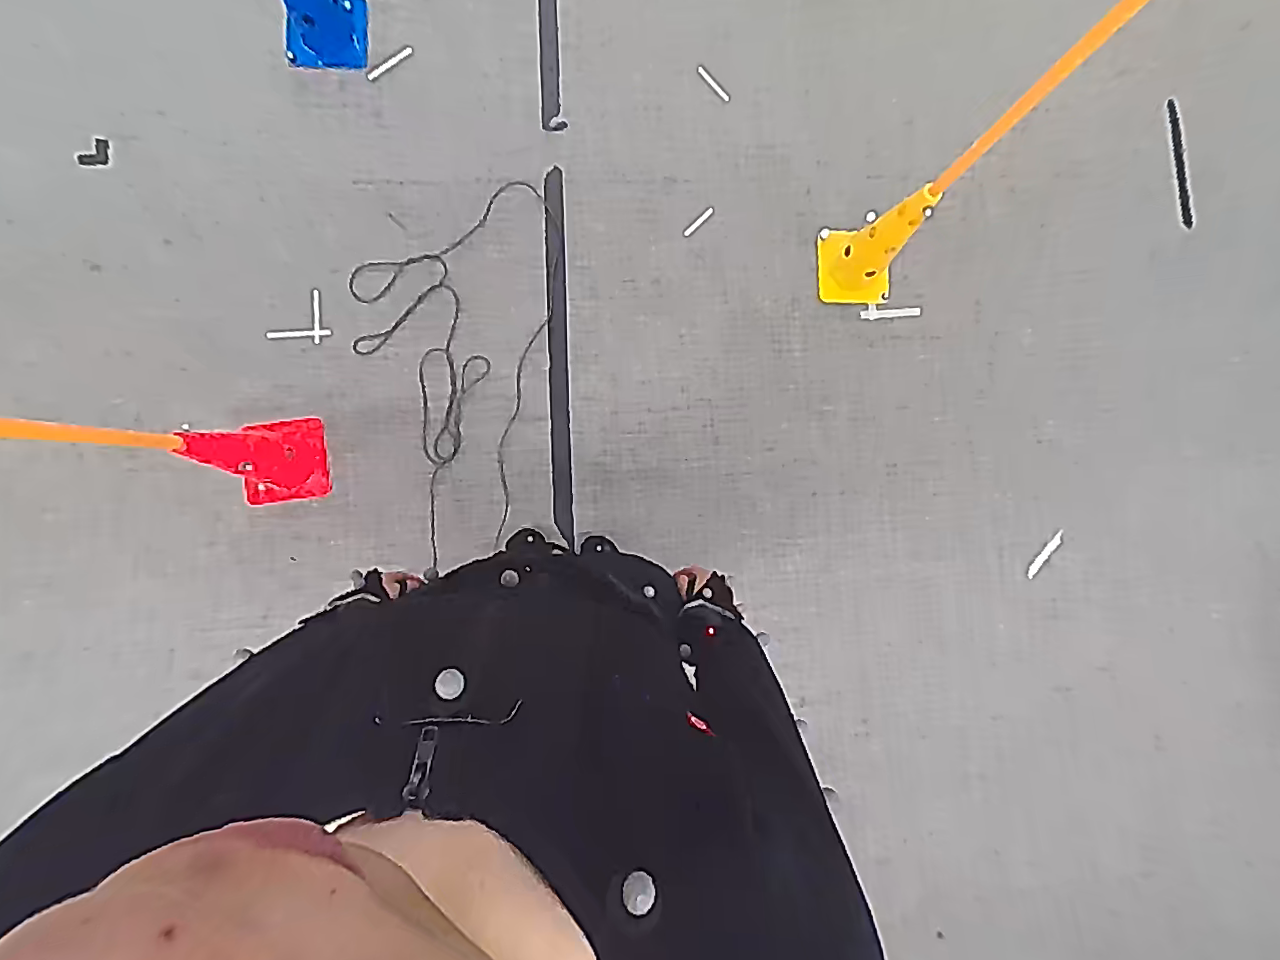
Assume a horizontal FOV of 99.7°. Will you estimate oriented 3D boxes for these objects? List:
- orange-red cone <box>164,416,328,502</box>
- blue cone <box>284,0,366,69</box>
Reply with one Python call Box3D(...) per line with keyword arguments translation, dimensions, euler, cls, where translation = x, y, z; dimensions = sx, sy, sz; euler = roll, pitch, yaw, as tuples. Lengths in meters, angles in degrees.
Box3D(translation=(-0.854, -0.061, 1.147), dimensions=(0.199, 0.360, 0.198), euler=(-8, 88, -6), cls="orange-red cone")
Box3D(translation=(-0.792, -1.167, 1.232), dimensions=(0.193, 0.380, 0.192), euler=(0, 87, -4), cls="blue cone")
